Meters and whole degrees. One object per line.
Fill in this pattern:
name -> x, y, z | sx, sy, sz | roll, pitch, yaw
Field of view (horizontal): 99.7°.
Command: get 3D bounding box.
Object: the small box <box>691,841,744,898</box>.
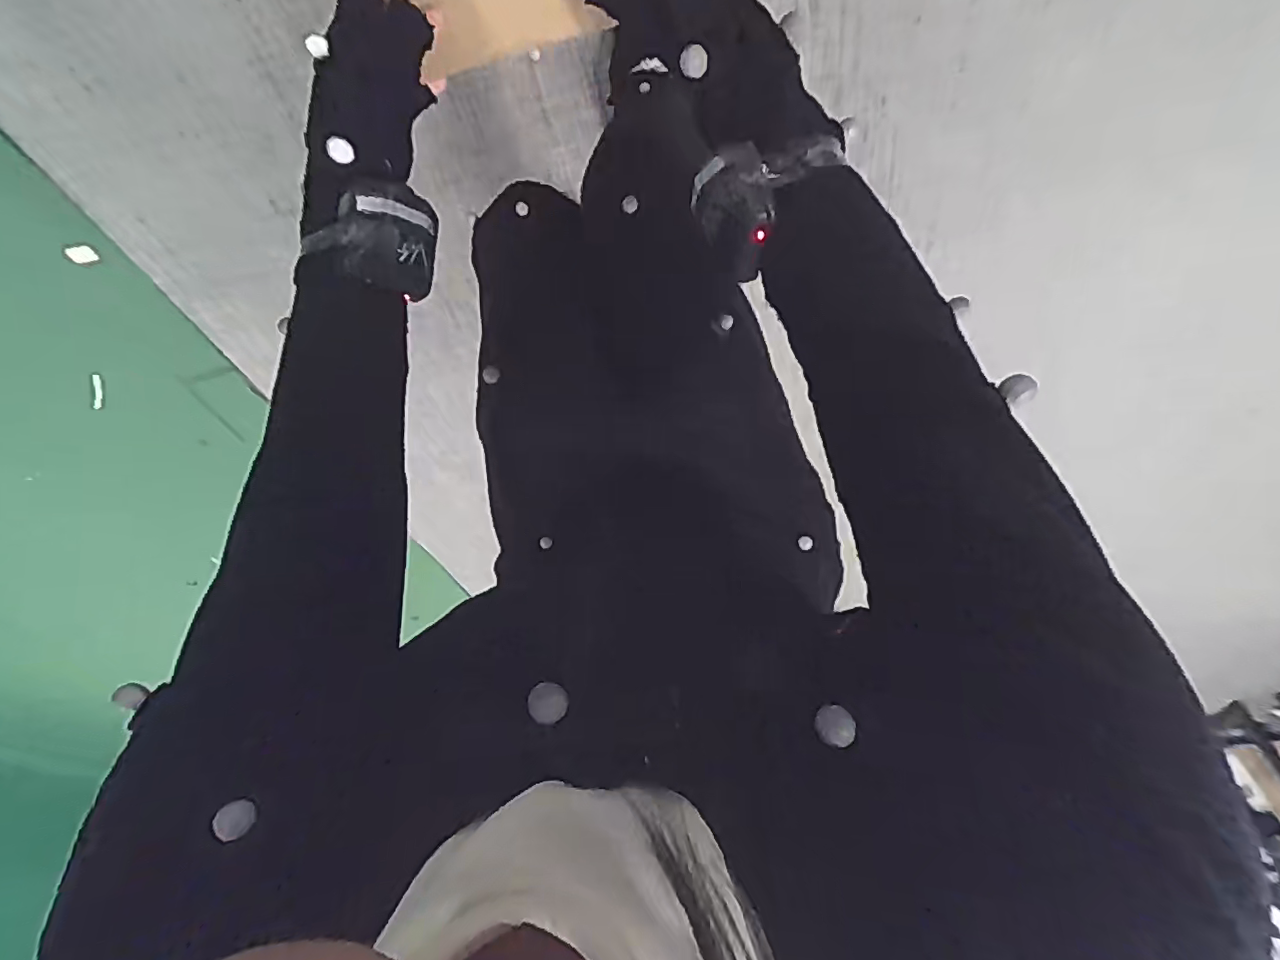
small box -> 0.301, 1.532, 2.125 | 0.179, 0.176, 0.168 | -12, 142, 10

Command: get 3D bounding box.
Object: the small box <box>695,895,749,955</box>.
small box -> 0.303, 1.659, 2.020 | 0.179, 0.176, 0.168 | -10, 142, 11

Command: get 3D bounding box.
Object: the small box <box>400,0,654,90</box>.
small box -> -0.096, -0.432, 0.403 | 0.179, 0.176, 0.168 | -12, 136, 11
